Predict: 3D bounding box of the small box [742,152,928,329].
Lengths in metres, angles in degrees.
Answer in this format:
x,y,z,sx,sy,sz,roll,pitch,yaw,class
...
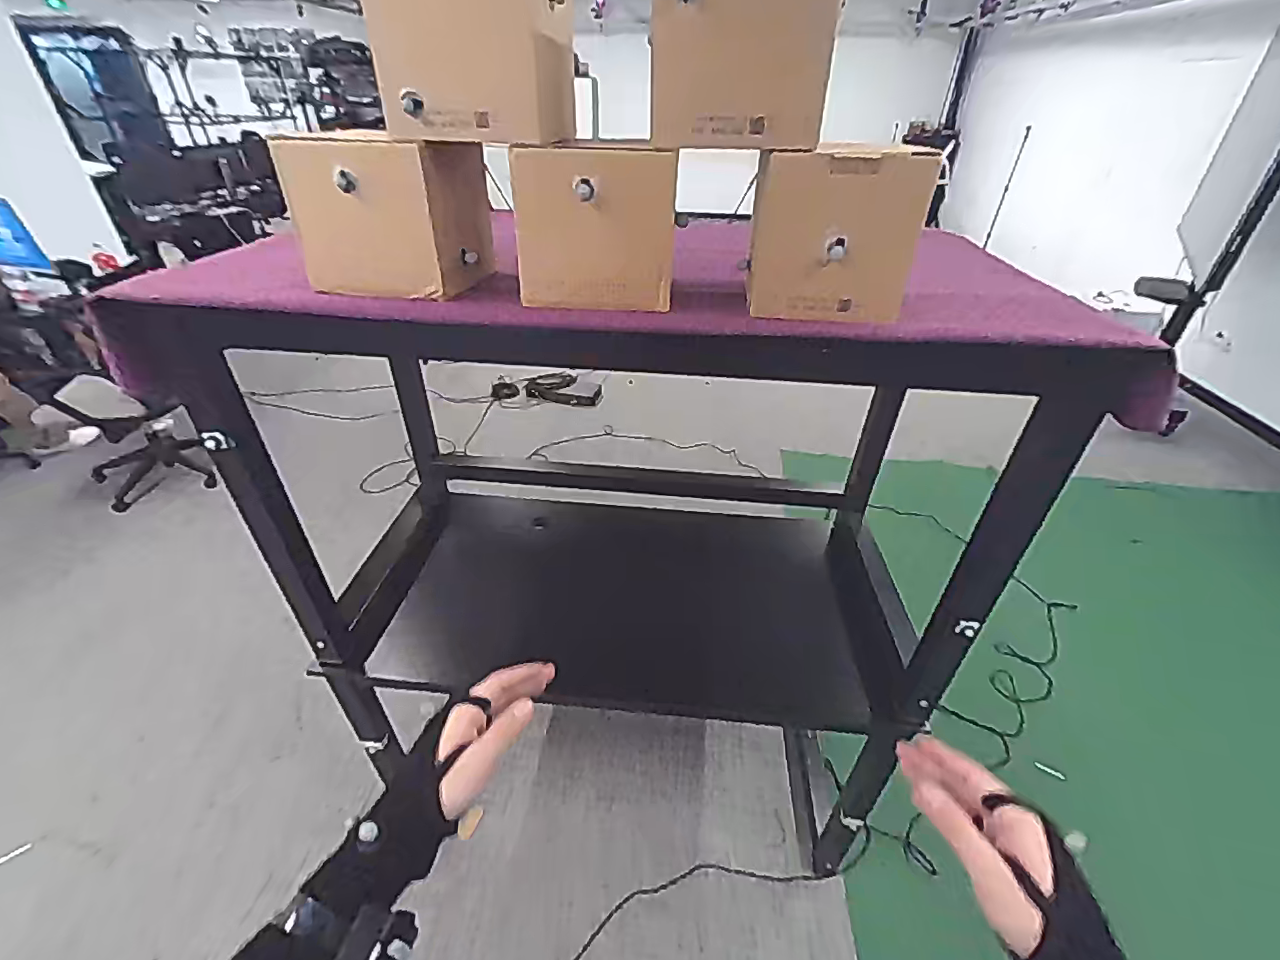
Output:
x,y,z,sx,sy,sz,roll,pitch,yaw,class
0.217,-0.292,0.654,0.168,0.176,0.179,5,35,6,small box

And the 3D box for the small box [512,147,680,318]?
x,y,z,sx,sy,sz,roll,pitch,yaw,class
-0.043,-0.307,0.671,0.179,0.176,0.168,3,34,3,small box

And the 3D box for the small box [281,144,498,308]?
x,y,z,sx,sy,sz,roll,pitch,yaw,class
-0.299,-0.326,0.690,0.179,0.176,0.168,7,34,7,small box

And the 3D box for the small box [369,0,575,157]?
x,y,z,sx,sy,sz,roll,pitch,yaw,class
-0.169,-0.460,0.600,0.168,0.176,0.179,5,33,4,small box
